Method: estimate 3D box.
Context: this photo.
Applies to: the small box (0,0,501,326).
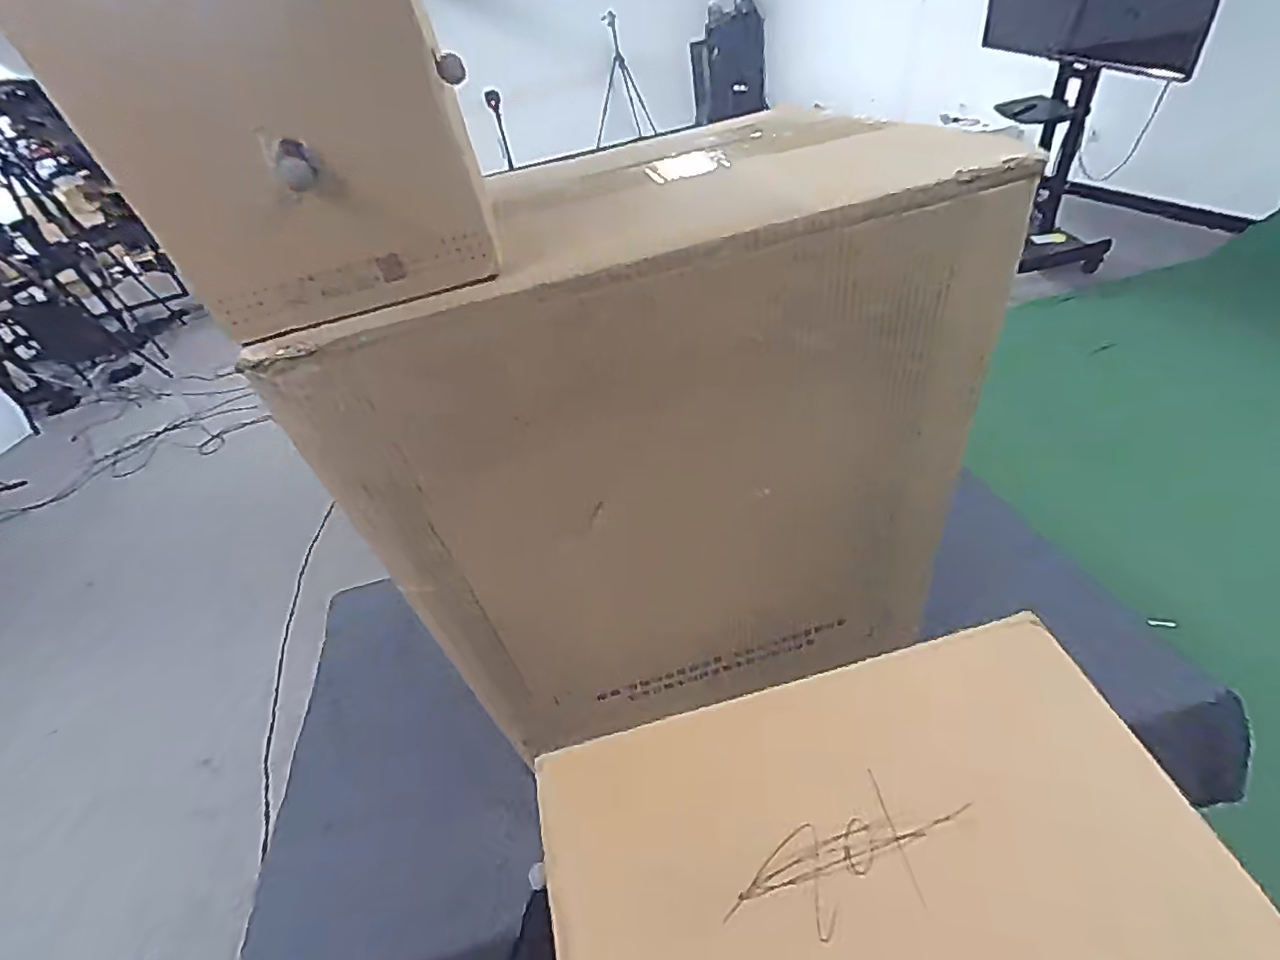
[{"bbox_3d":[-0.193,-0.213,0.339,0.168,0.176,0.179,-16,42,-4],"label":"small box"}]
